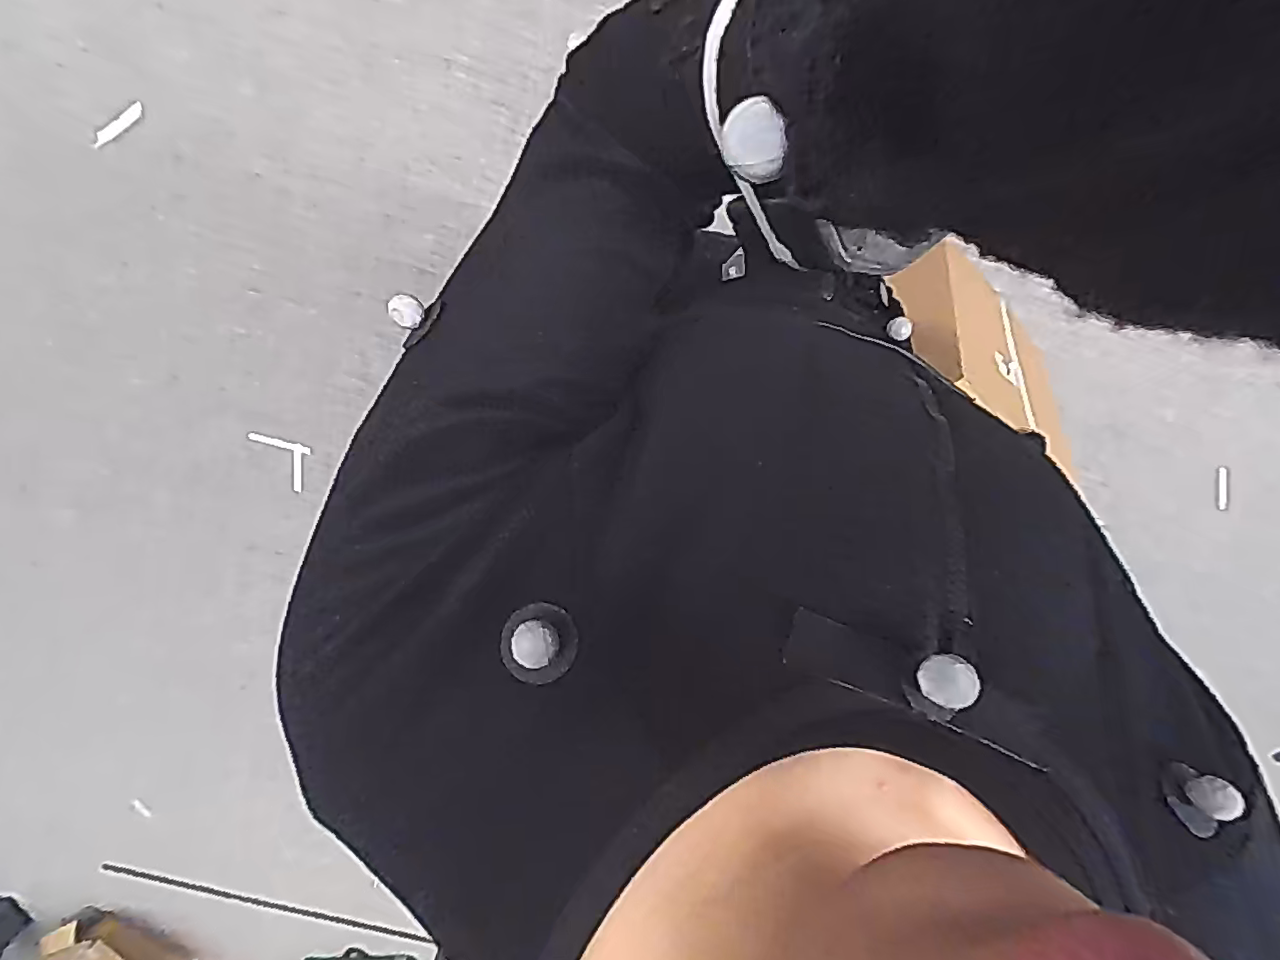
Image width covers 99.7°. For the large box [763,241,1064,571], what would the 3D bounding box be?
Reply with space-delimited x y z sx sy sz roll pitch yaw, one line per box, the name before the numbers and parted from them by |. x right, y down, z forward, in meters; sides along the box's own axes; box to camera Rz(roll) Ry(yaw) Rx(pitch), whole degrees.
large box | 0.453 -0.116 0.933 0.320 0.408 0.320 38 140 -17
